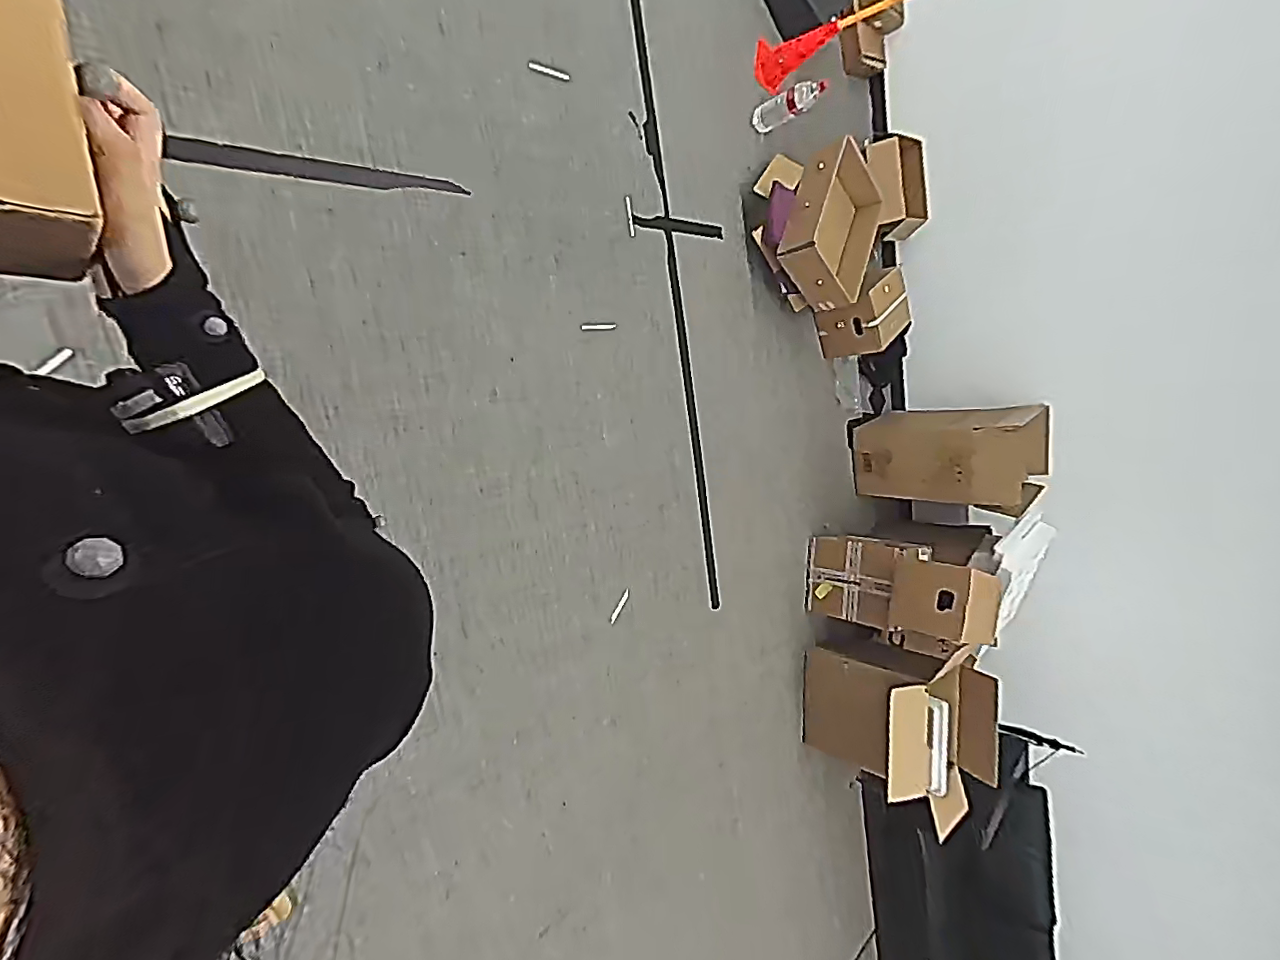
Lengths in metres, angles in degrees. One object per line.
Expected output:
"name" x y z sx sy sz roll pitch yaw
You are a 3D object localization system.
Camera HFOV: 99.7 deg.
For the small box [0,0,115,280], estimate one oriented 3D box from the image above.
"small box" -0.371 -0.204 0.244 0.168 0.176 0.179 -12 103 -47
